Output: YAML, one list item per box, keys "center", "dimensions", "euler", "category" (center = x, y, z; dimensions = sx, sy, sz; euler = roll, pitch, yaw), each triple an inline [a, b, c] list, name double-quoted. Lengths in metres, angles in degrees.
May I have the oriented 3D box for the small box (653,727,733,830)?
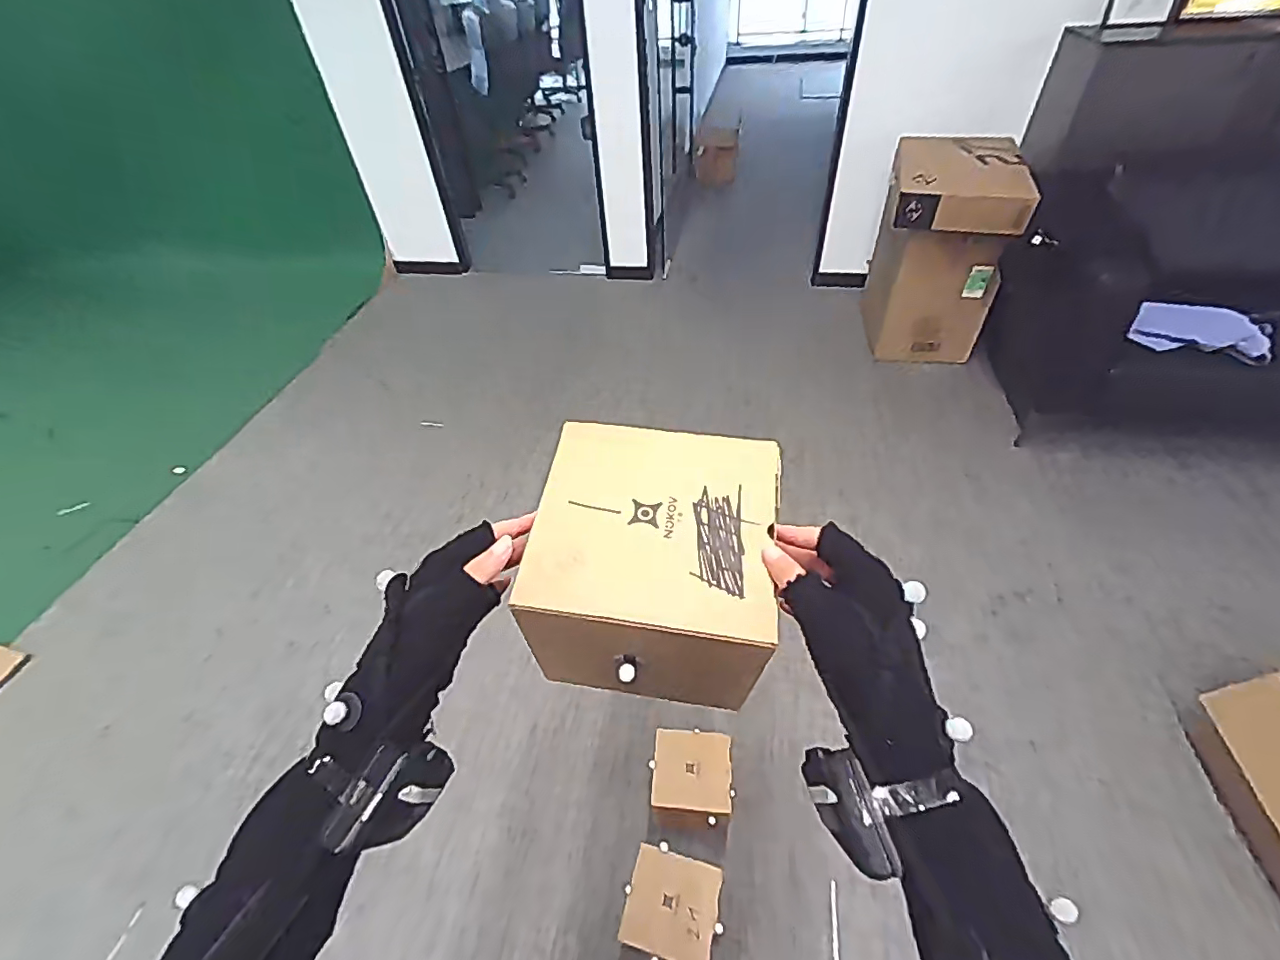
- center: [0.127, 0.701, 1.268]
  dimensions: [0.179, 0.176, 0.168]
  euler: [2, 46, 7]
  category: "small box"

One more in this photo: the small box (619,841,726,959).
- center: [0.071, 0.873, 1.101]
  dimensions: [0.179, 0.176, 0.168]
  euler: [10, 47, 14]
  category: "small box"
